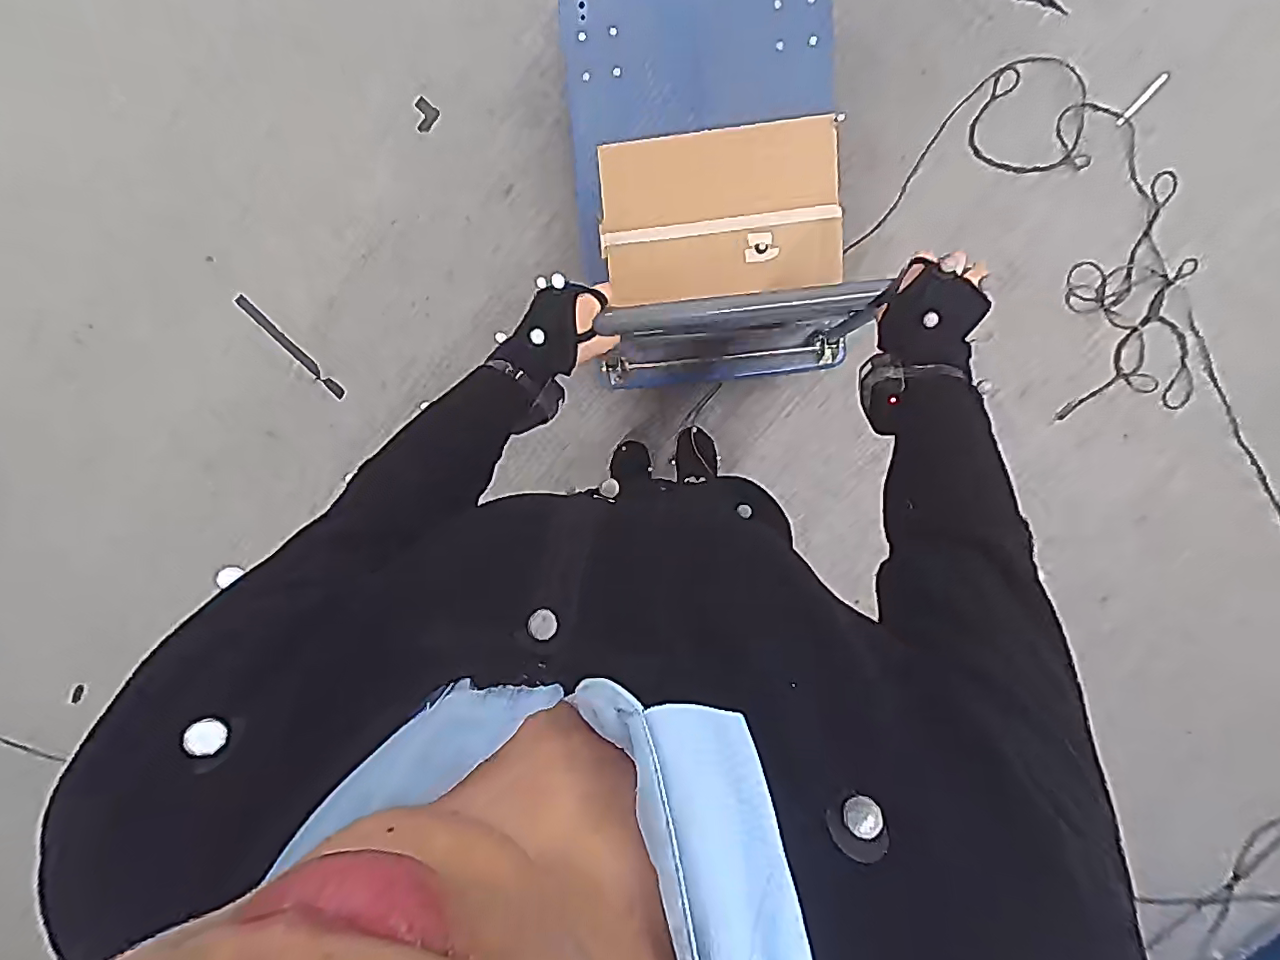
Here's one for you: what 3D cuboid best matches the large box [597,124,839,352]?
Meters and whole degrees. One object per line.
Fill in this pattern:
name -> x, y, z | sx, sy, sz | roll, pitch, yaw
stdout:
large box -> 0.145, -0.448, 1.088 | 0.408, 0.320, 0.320 | -5, 99, 4
